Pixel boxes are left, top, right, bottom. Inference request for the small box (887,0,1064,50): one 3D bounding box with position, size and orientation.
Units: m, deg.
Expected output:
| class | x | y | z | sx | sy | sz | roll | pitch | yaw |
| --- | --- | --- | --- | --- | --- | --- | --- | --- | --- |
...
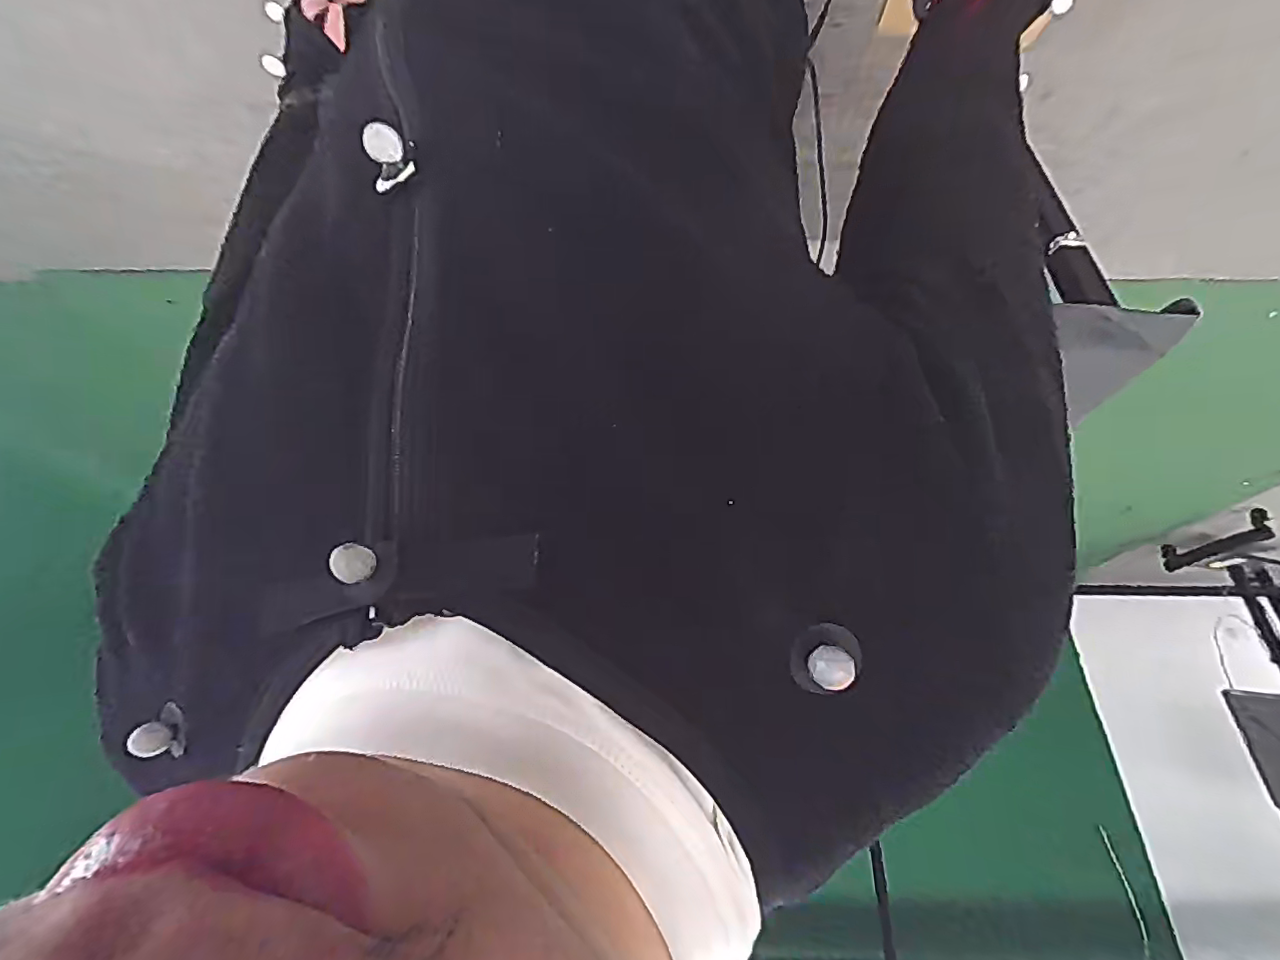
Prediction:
| class | x | y | z | sx | sy | sz | roll | pitch | yaw |
| --- | --- | --- | --- | --- | --- | --- | --- | --- | --- |
| small box | 0.355 | -0.560 | 0.517 | 0.168 | 0.179 | 0.176 | 15 | -170 | 9 |
